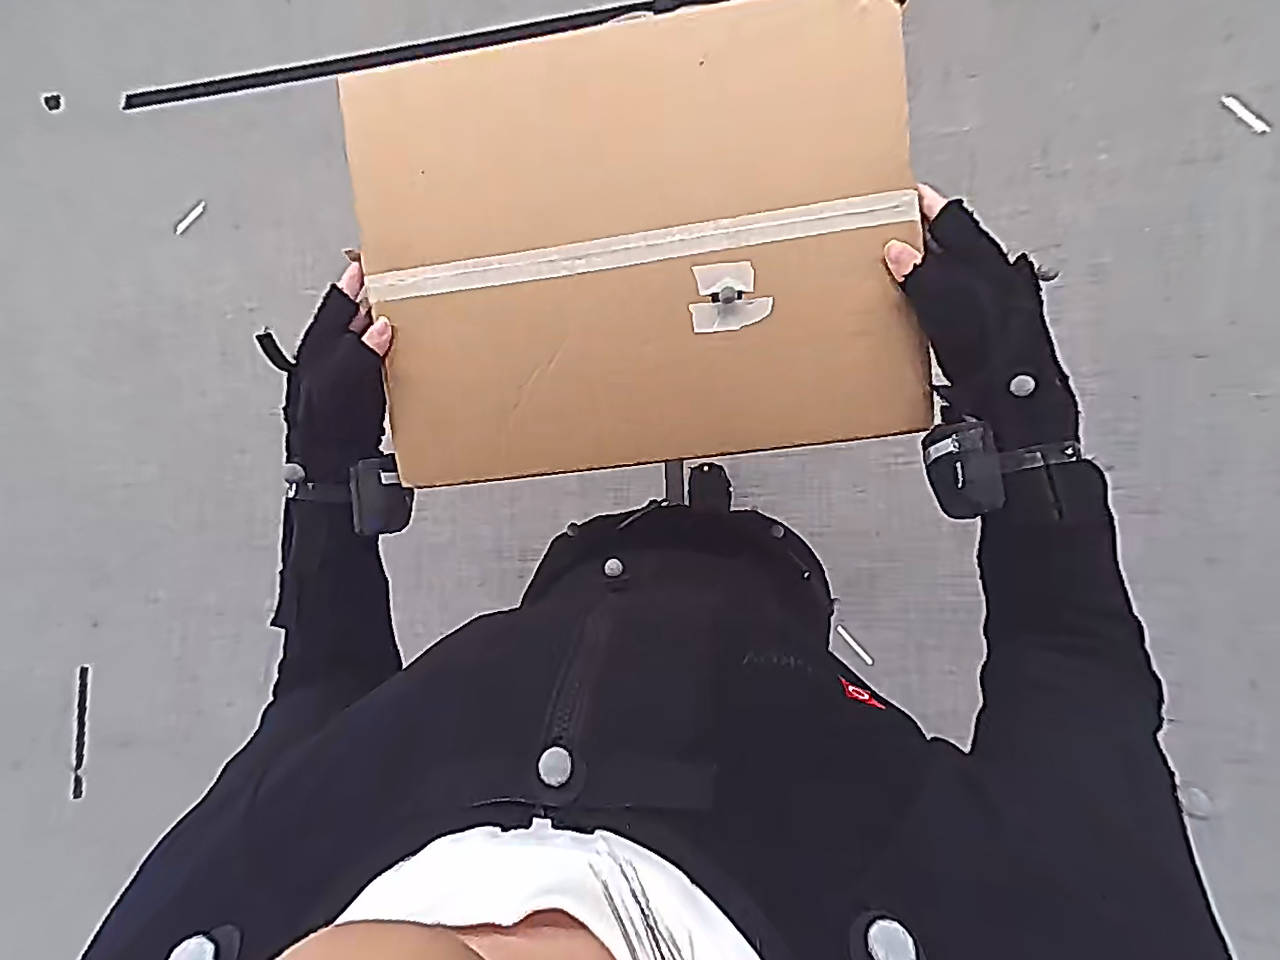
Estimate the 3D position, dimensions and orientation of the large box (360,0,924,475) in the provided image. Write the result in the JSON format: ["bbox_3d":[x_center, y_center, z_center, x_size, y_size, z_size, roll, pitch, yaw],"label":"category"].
[{"bbox_3d":[0.007,-0.192,0.557,0.408,0.320,0.320,-7,95,5],"label":"large box"}]
